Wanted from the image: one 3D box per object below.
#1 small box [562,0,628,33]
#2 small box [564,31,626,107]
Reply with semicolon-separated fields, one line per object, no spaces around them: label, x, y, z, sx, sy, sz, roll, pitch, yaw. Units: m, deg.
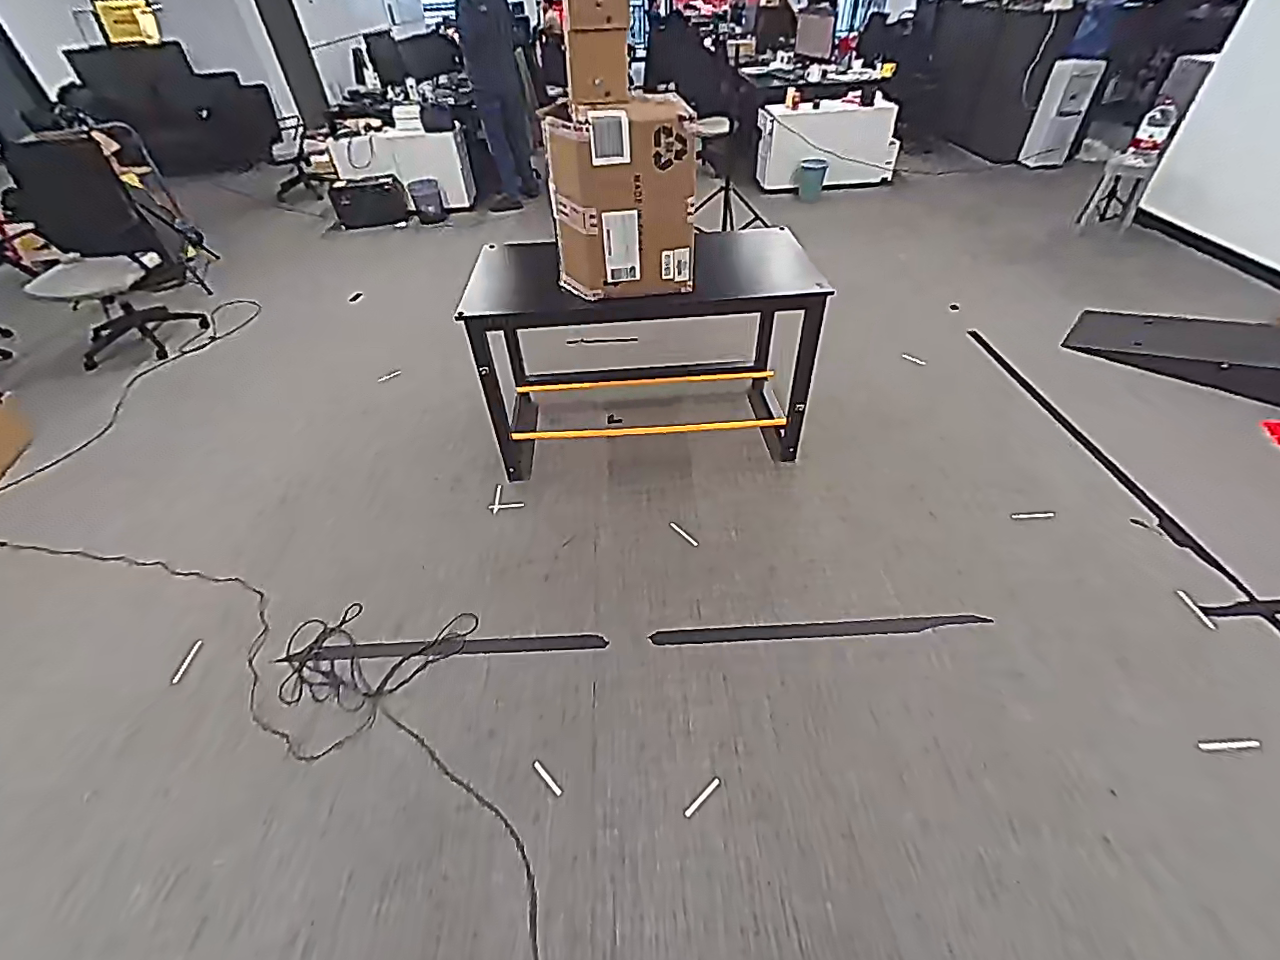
small box;-0.127;-1.326;1.470;0.168;0.176;0.179;-8;41;-7
small box;-0.132;-1.207;1.584;0.168;0.176;0.179;-7;42;-6
